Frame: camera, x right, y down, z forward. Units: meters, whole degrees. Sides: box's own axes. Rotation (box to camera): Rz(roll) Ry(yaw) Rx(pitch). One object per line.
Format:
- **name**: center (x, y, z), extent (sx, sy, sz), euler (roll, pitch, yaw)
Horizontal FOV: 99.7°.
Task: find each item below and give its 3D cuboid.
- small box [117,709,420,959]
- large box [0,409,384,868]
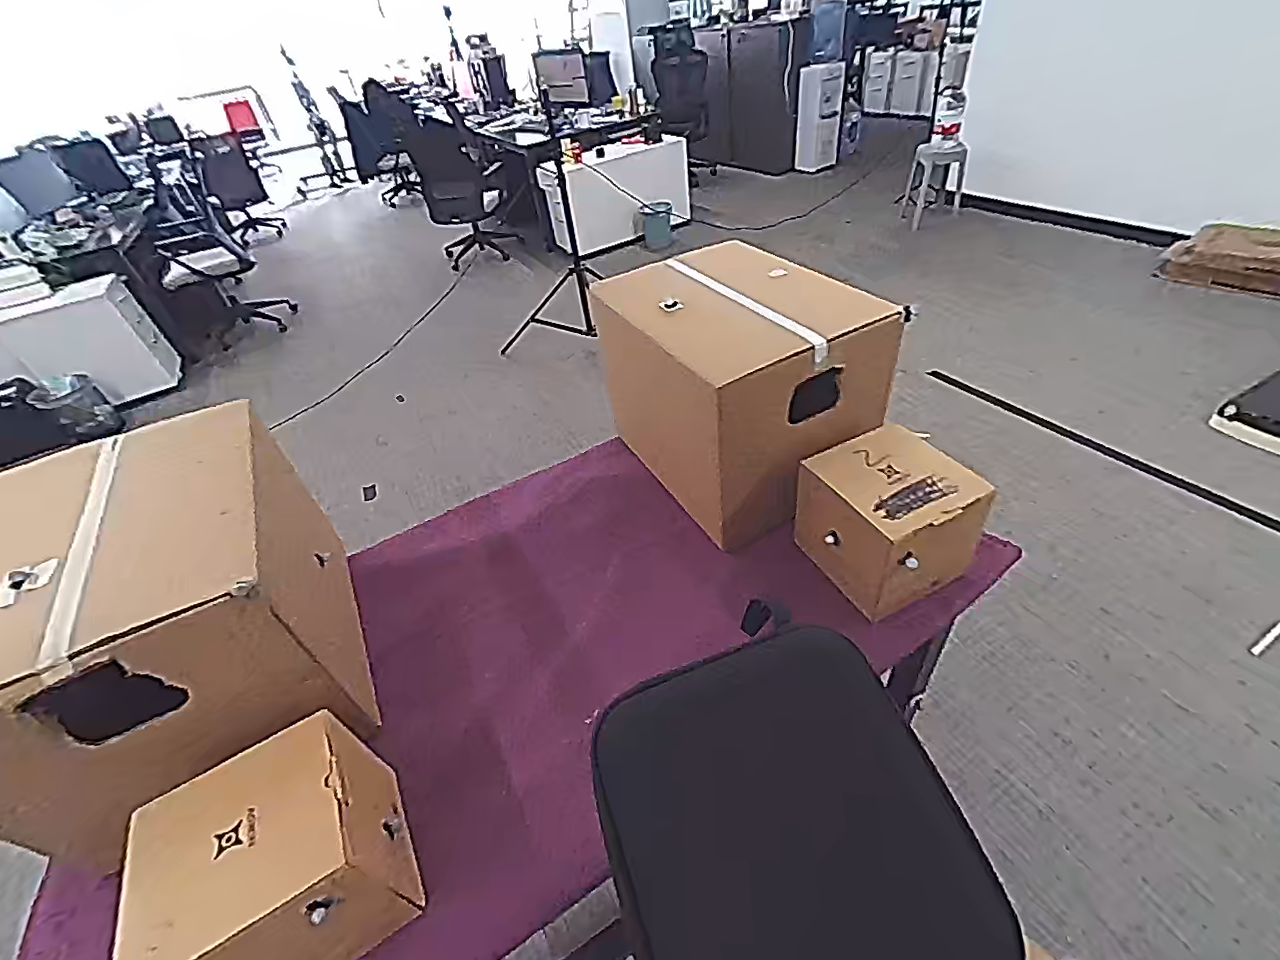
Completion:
- **small box**: center (-0.348, 0.375, 0.531), extent (0.179, 0.176, 0.168), euler (-27, 43, -20)
- **large box**: center (-0.577, 0.172, 0.696), extent (0.320, 0.320, 0.408), euler (-26, 46, -19)
